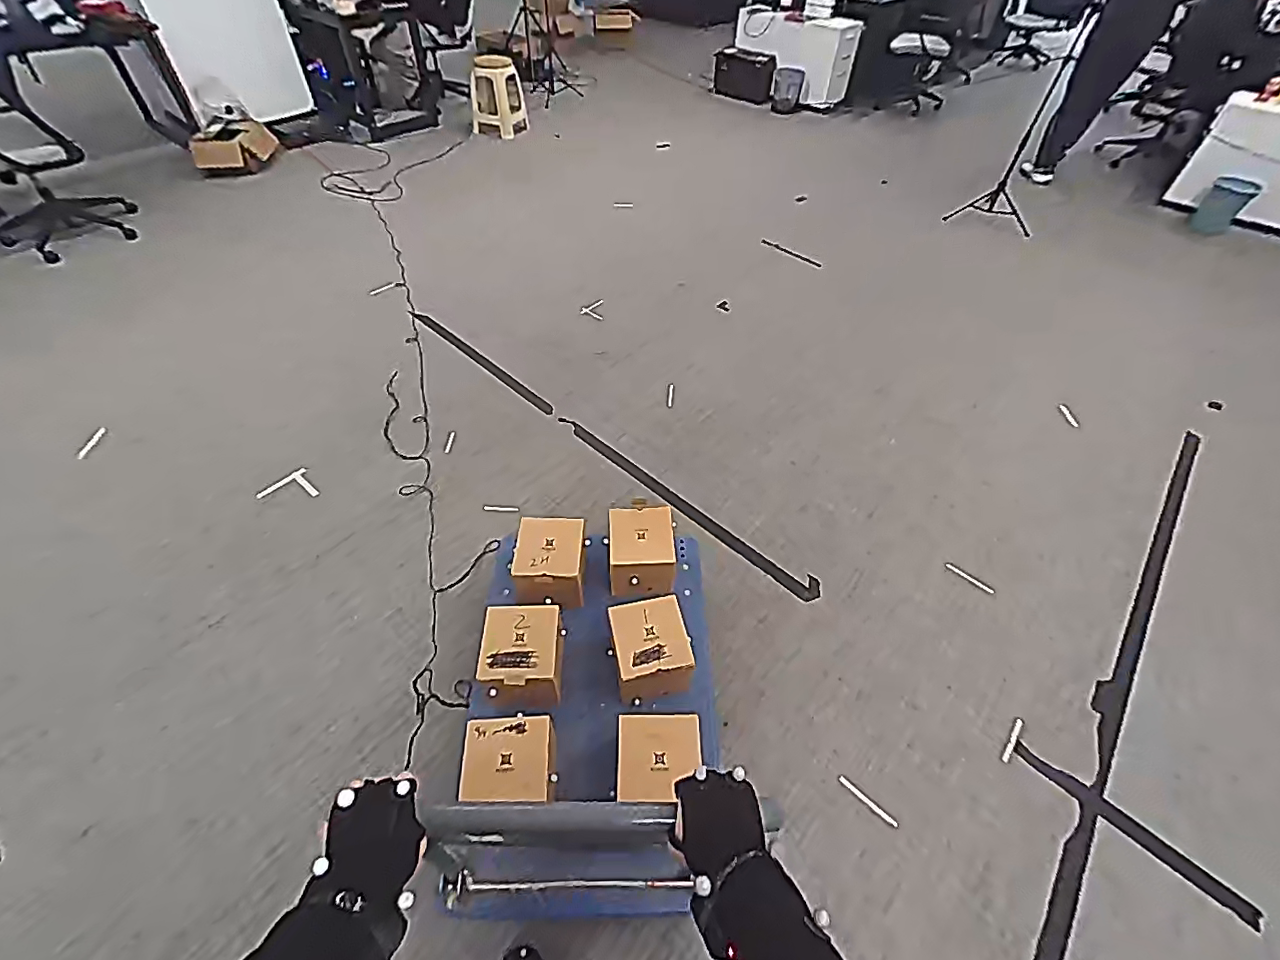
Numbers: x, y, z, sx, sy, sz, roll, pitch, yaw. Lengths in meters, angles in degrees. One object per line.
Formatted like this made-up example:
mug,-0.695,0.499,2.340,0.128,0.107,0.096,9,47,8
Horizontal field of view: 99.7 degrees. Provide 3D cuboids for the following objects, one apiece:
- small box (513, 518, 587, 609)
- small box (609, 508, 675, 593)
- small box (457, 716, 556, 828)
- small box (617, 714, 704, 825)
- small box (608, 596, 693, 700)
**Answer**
small box,-0.229,0.220,1.426,0.168,0.176,0.179,2,50,0
small box,0.003,0.196,1.458,0.168,0.176,0.179,-2,50,-3
small box,-0.261,0.600,1.103,0.168,0.176,0.179,-1,50,-5
small box,0.037,0.601,1.117,0.168,0.176,0.179,1,49,-2
small box,0.022,0.404,1.282,0.168,0.176,0.179,-8,50,-9
